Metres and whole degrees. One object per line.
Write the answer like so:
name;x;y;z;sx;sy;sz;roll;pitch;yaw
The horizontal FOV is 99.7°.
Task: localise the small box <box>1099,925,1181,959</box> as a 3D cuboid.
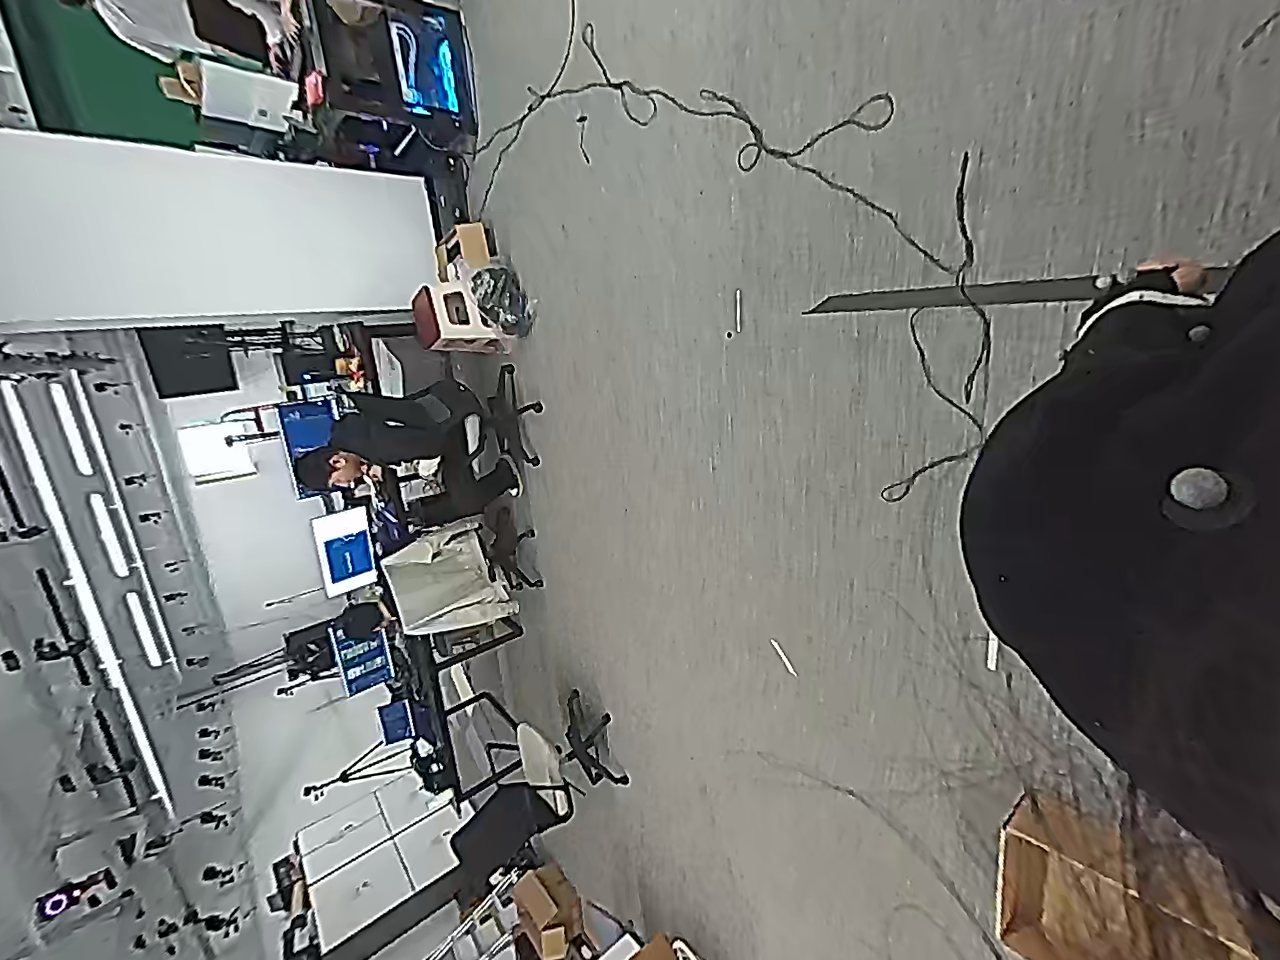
small box;1.067;1.106;1.129;0.168;0.176;0.179;9;111;50
